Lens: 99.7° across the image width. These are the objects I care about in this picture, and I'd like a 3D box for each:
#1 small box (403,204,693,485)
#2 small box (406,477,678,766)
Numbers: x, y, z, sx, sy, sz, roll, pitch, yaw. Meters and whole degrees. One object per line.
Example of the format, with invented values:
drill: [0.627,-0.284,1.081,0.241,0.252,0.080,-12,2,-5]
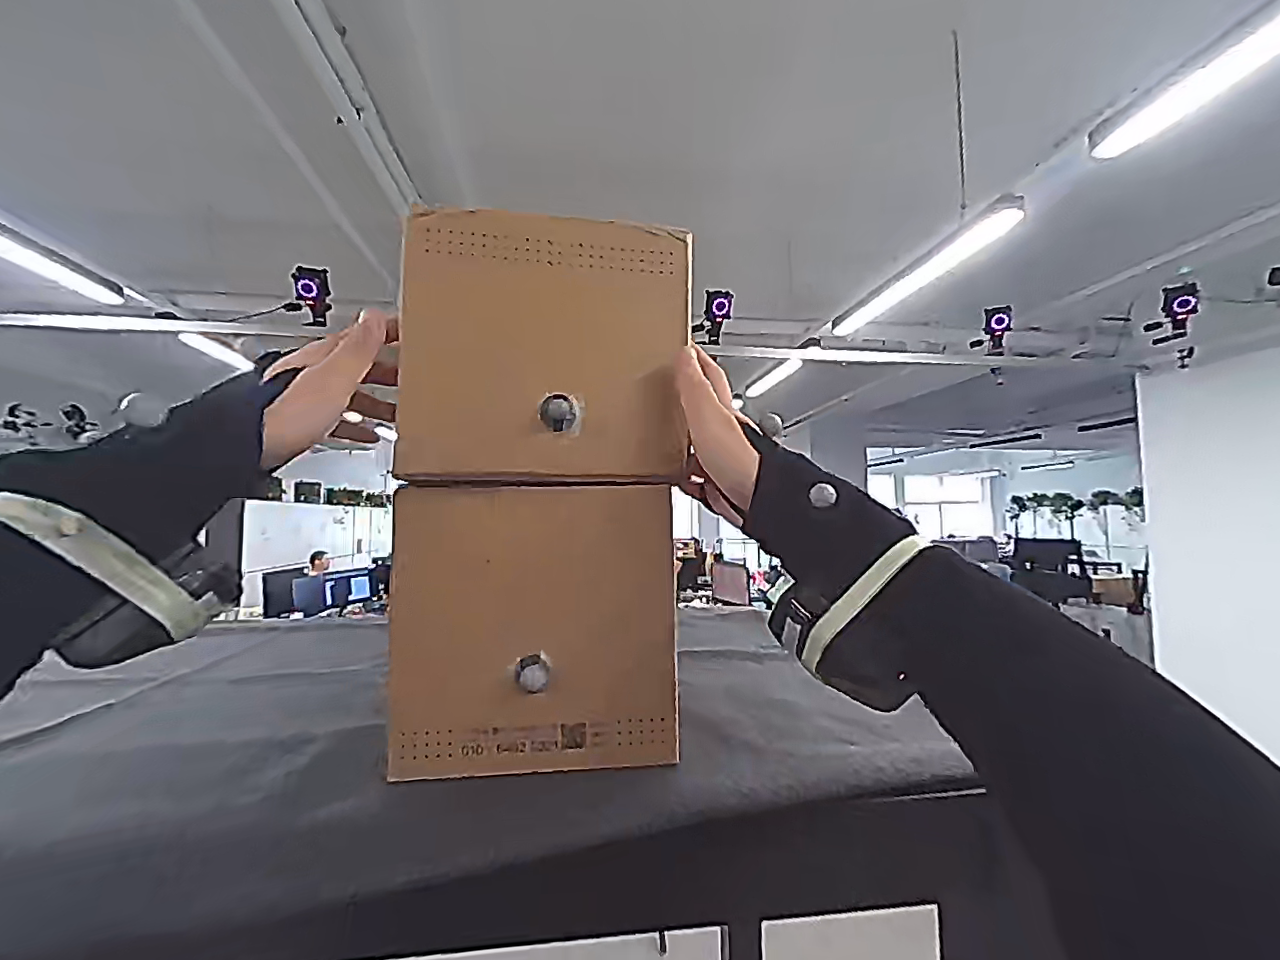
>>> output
small box: [-0.065,-0.078,0.405,0.179,0.176,0.168,2,-6,-10]
small box: [-0.067,0.090,0.401,0.168,0.176,0.179,-1,-5,-6]
